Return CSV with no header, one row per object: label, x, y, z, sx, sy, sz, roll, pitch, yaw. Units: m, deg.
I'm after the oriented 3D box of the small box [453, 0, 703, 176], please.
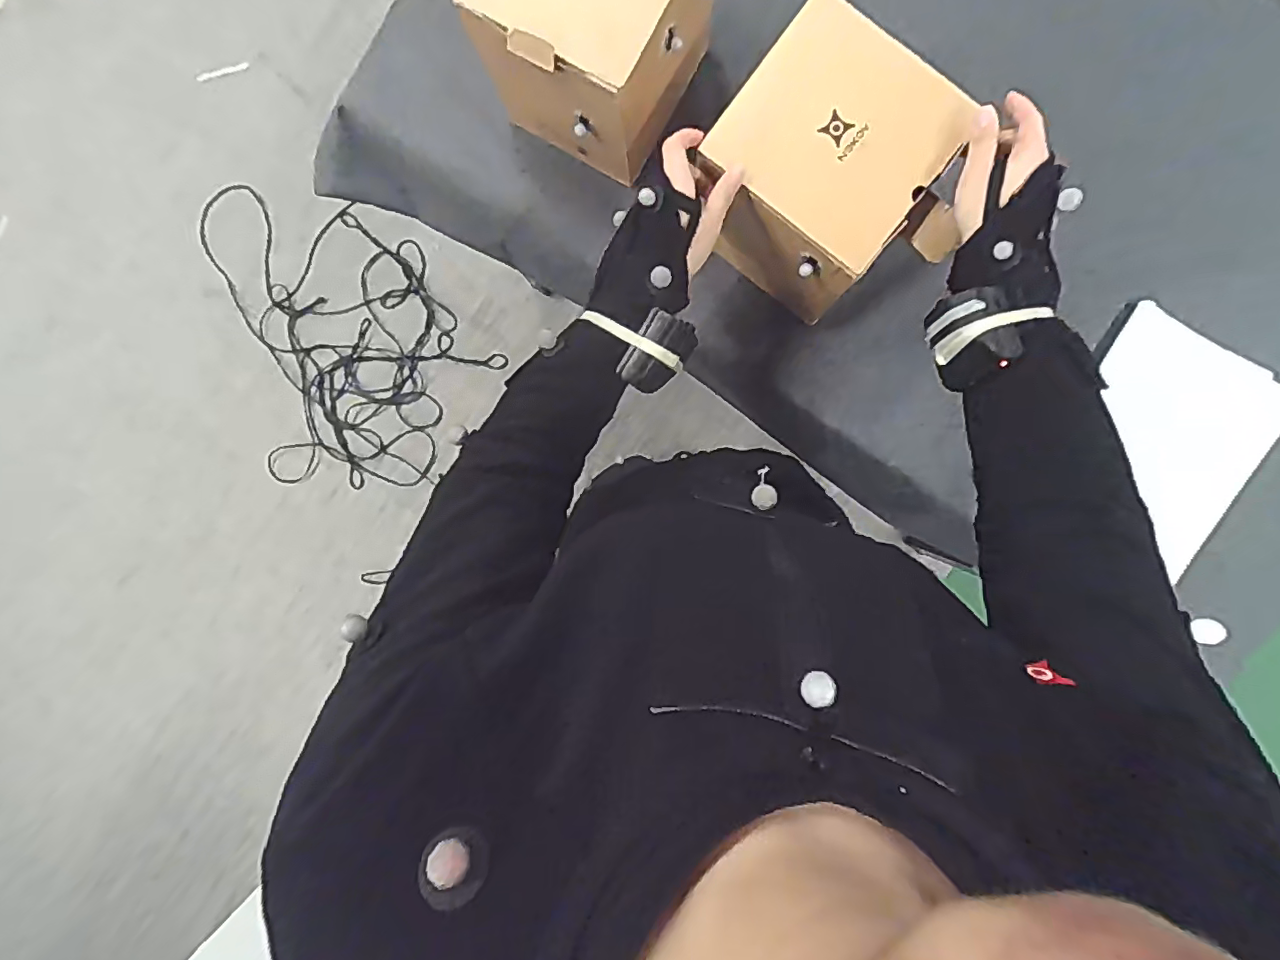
small box,-0.043,-0.441,0.524,0.168,0.176,0.179,29,93,0
